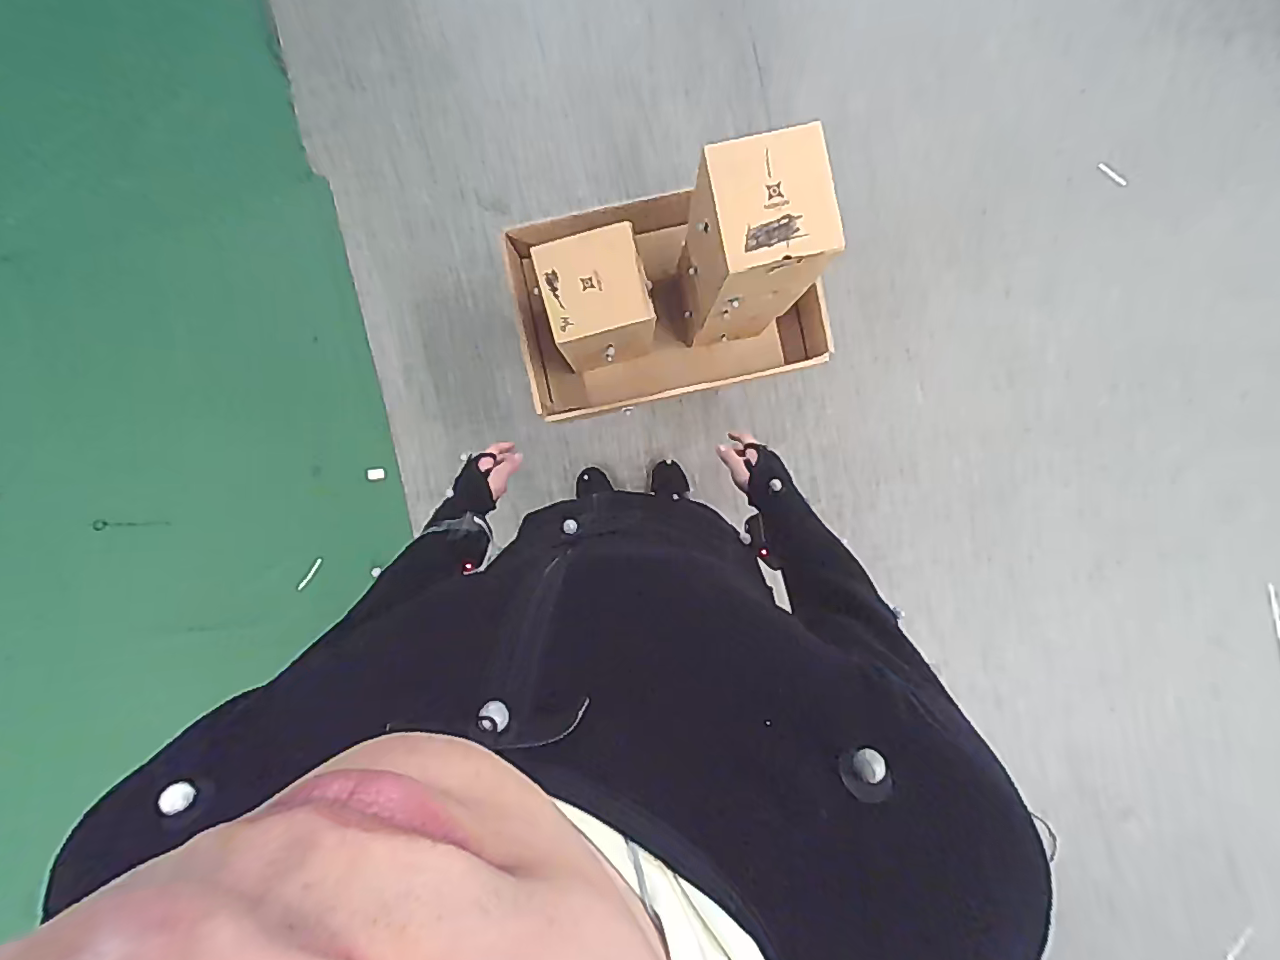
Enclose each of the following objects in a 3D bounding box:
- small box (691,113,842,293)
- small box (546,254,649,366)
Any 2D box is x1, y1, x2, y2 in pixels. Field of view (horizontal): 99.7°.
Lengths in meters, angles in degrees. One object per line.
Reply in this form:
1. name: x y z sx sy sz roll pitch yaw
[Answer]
1. small box: 0.177 -0.392 0.803 0.168 0.176 0.179 -12 92 0
2. small box: -0.083 -0.346 1.133 0.179 0.176 0.168 -13 92 -1
